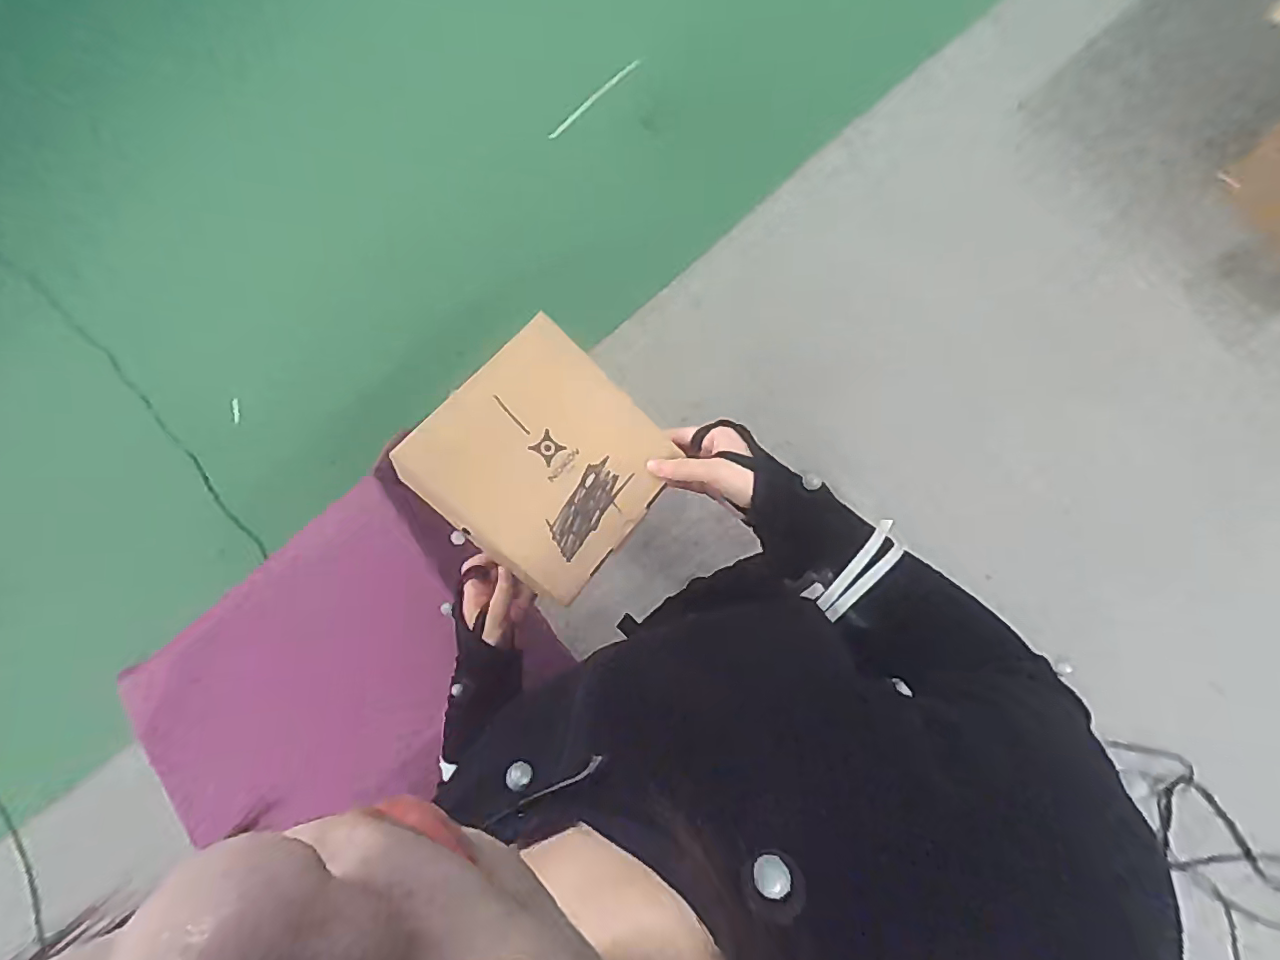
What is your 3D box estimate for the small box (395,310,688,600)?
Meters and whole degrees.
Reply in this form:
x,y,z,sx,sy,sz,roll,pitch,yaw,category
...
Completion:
x,y,z,sx,sy,sz,roll,pitch,yaw,category
-0.094,-0.016,0.500,0.179,0.176,0.168,46,71,-11,small box
